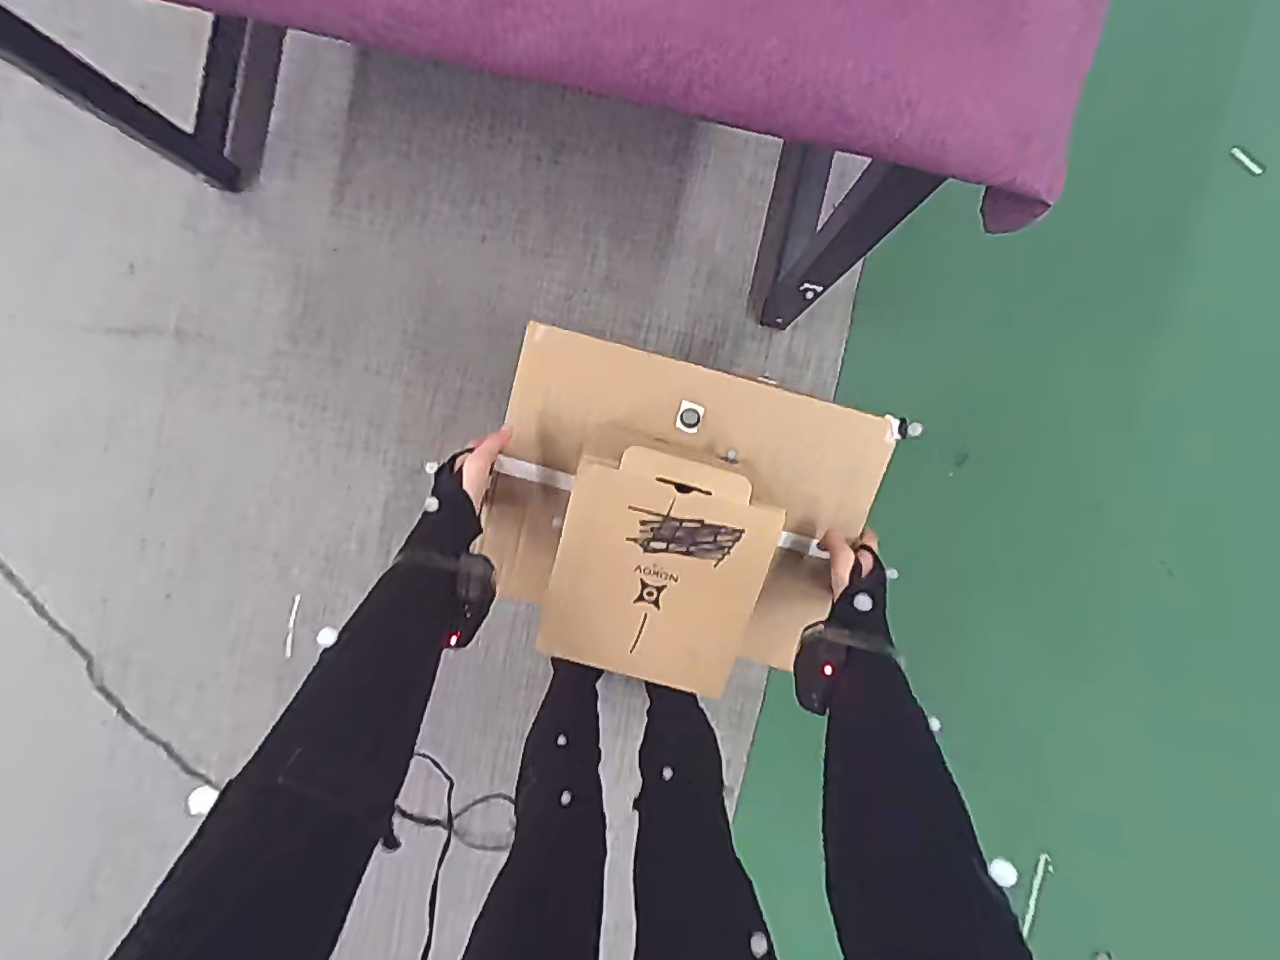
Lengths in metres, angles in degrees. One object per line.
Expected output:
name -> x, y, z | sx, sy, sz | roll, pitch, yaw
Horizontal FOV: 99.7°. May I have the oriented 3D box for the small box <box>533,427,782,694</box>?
small box -> 0.013, 0.059, 0.510 | 0.168, 0.176, 0.179 | 15, 105, -1
